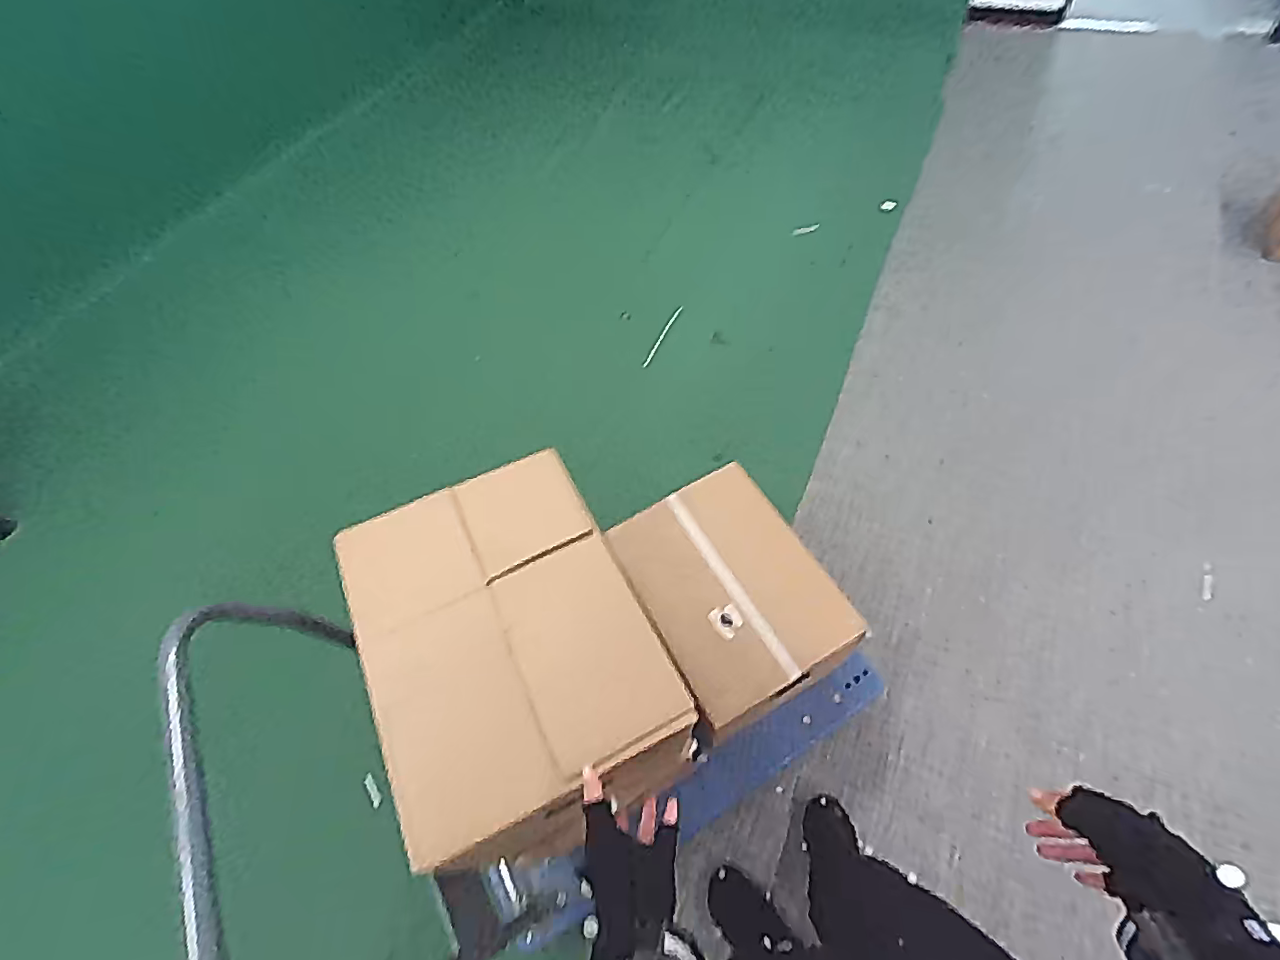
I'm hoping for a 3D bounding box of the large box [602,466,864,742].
[{"bbox_3d":[0.163,0.254,1.107,0.320,0.320,0.408,-28,61,-11],"label":"large box"}]
